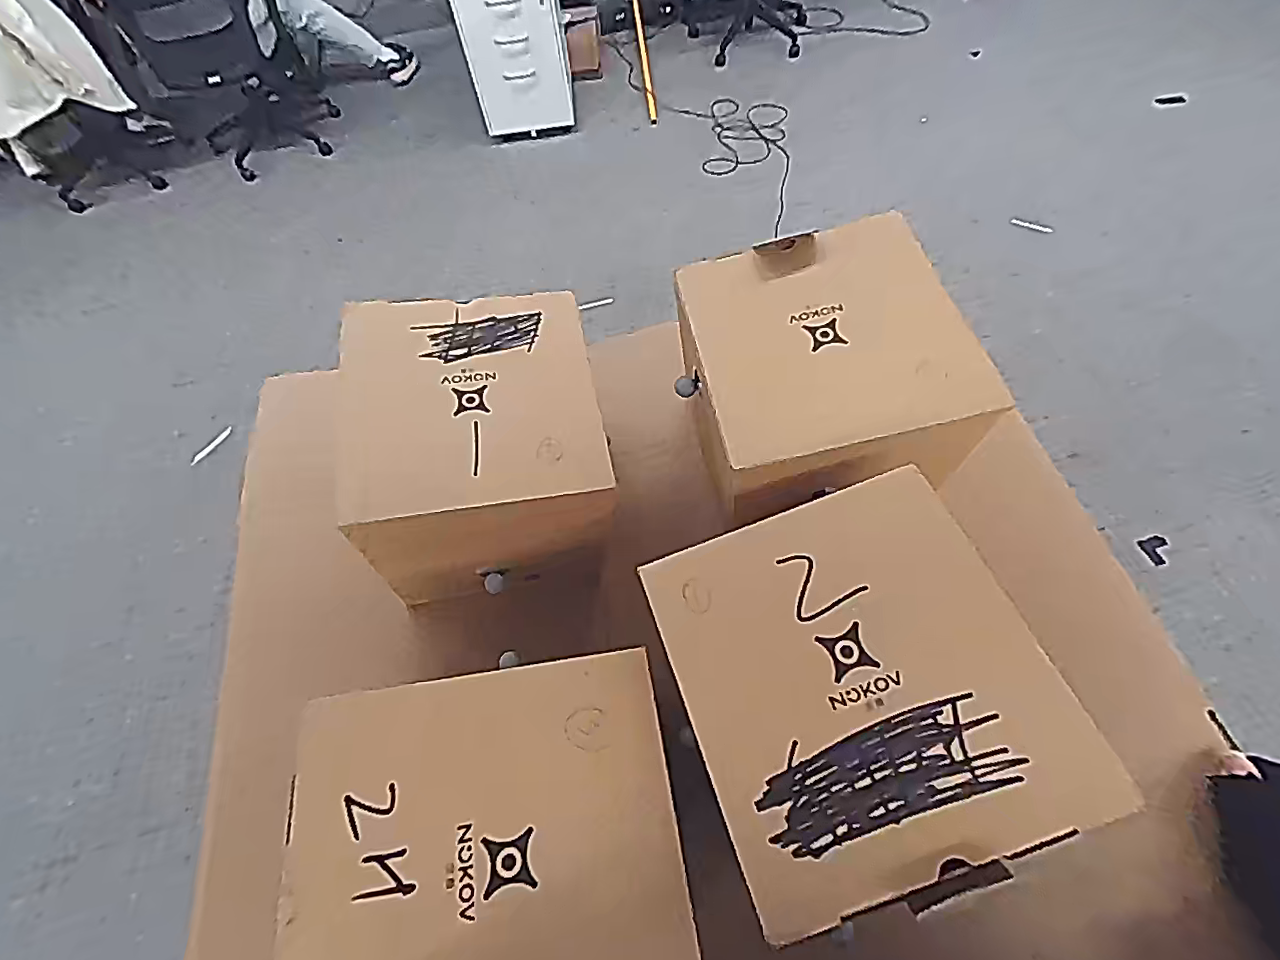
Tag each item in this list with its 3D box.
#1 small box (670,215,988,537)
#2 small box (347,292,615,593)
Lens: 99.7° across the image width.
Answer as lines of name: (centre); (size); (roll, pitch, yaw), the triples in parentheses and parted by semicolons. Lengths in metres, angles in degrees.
small box: (0.129, -0.066, 0.433); (0.168, 0.176, 0.179); (-13, 61, 4)
small box: (-0.121, -0.026, 0.444); (0.168, 0.176, 0.179); (-8, 63, -11)
